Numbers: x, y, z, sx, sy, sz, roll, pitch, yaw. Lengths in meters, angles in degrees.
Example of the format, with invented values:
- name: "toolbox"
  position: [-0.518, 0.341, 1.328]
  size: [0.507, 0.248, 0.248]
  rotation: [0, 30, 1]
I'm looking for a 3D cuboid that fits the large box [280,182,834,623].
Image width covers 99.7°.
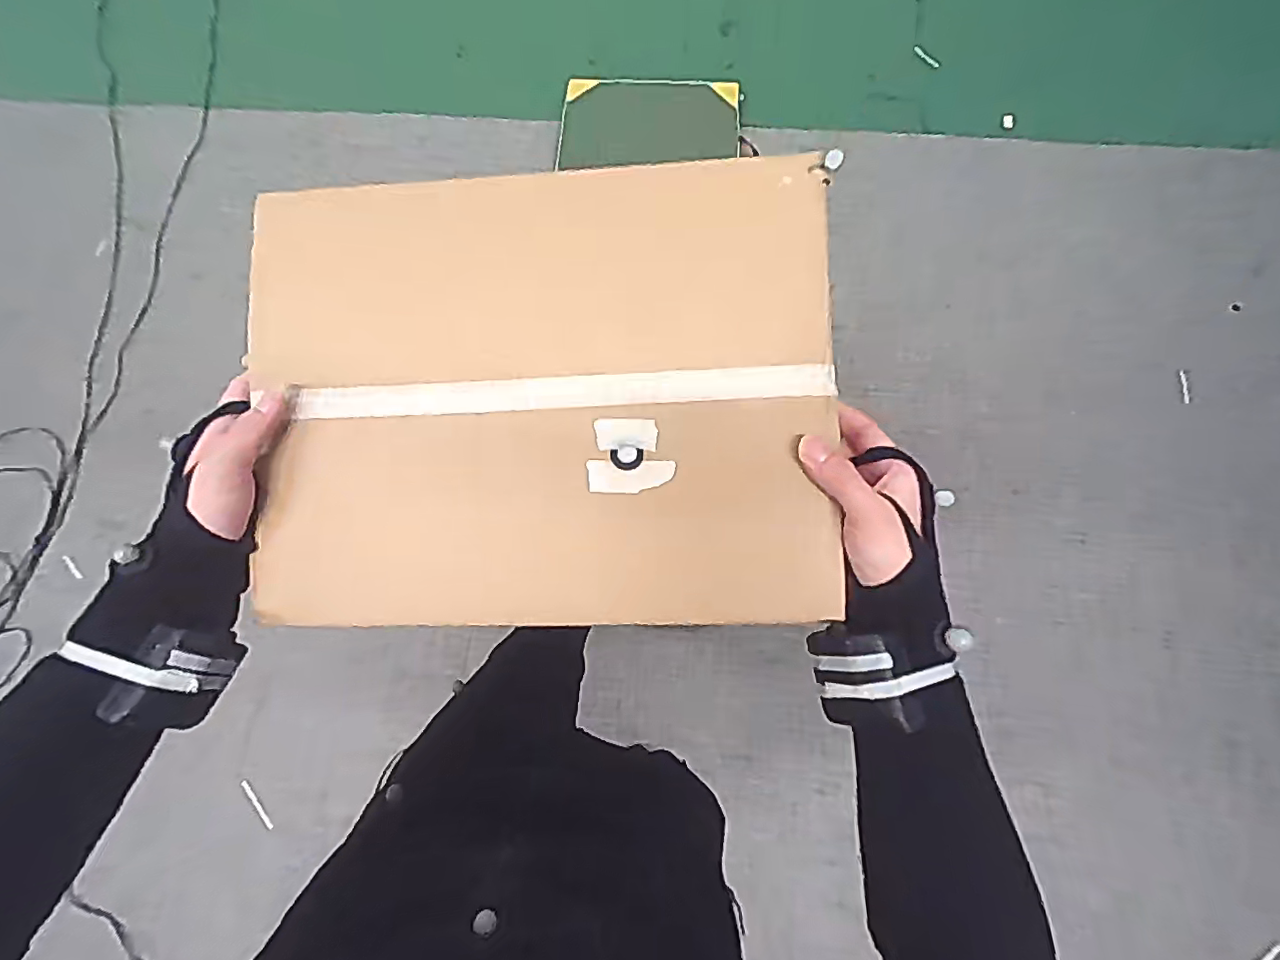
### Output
- name: "large box"
  position: [-0.061, -0.045, 0.542]
  size: [0.408, 0.320, 0.320]
  rotation: [-2, 86, 4]
